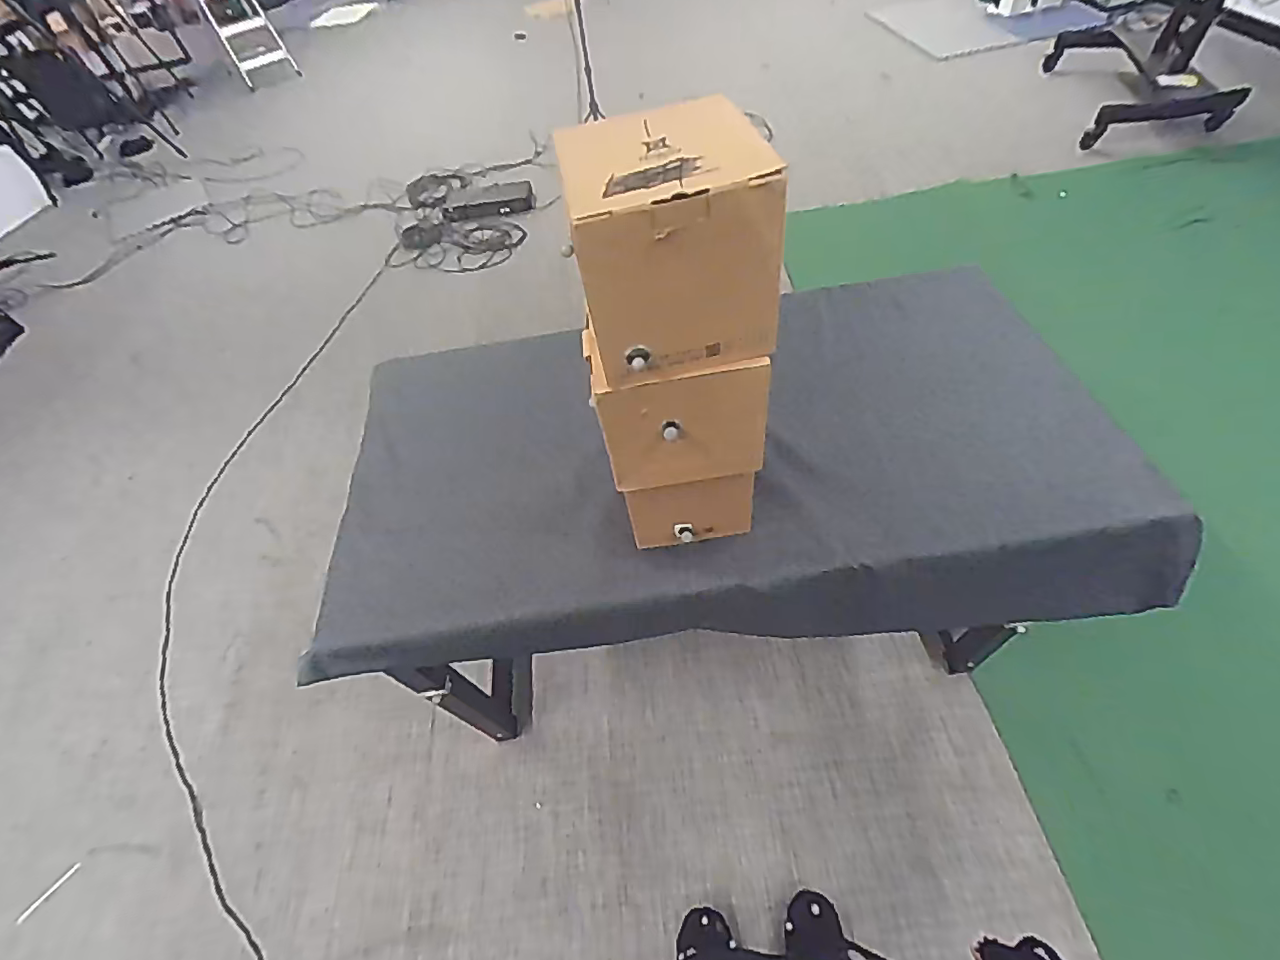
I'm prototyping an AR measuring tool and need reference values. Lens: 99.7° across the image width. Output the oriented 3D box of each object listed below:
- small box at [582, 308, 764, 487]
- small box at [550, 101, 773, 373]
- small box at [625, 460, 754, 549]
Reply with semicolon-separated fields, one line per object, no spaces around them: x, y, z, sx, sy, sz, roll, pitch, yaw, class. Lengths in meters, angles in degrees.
0.039;-0.110;0.640;0.179;0.176;0.168;-11;50;0;small box
0.020;-0.220;0.514;0.168;0.176;0.179;-13;51;0;small box
0.058;-0.026;0.776;0.168;0.176;0.179;-11;53;1;small box
